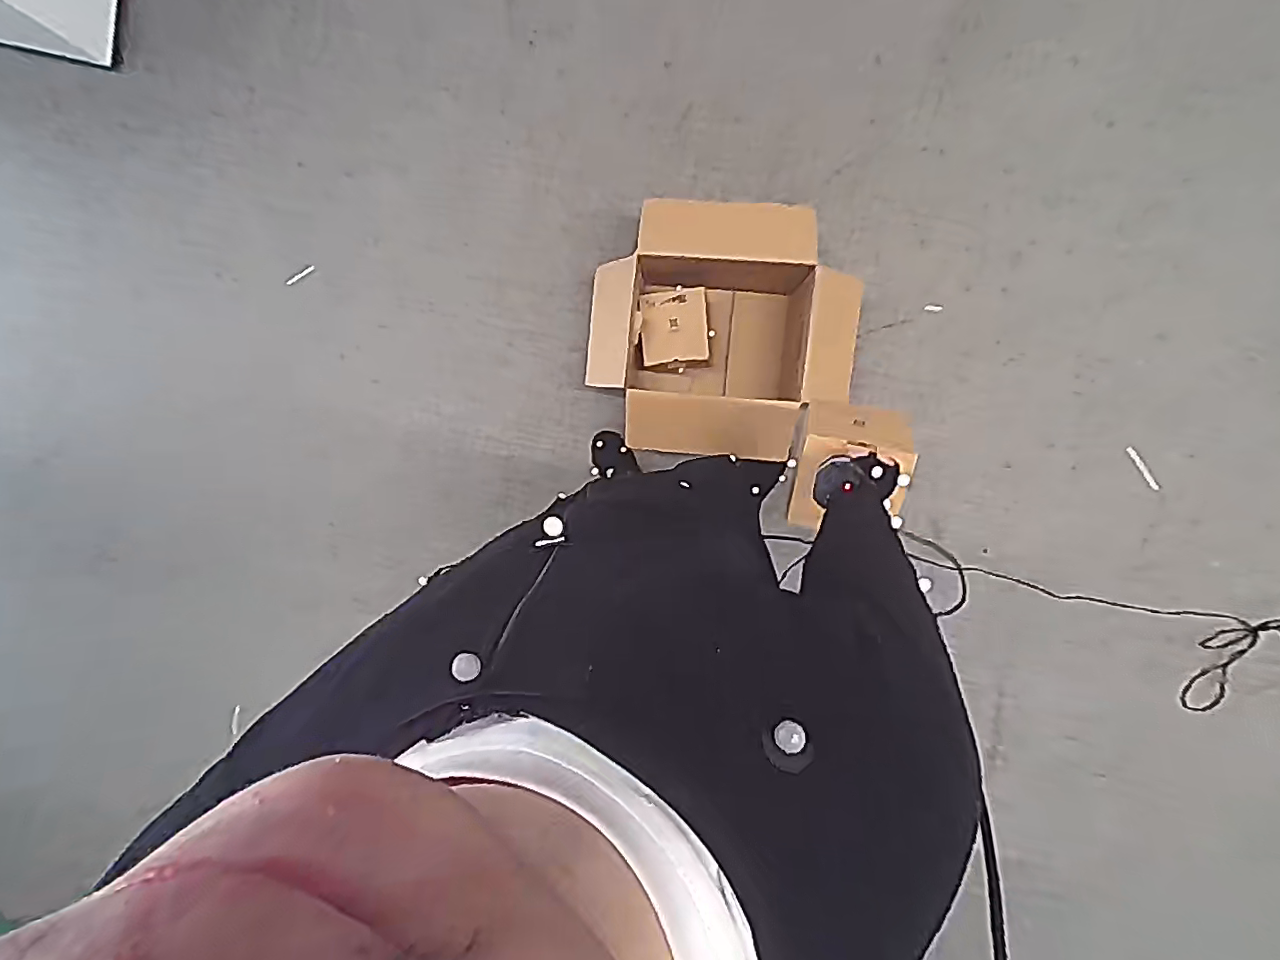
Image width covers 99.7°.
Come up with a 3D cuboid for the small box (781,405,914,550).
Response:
[{"bbox_3d":[0.343,-0.006,0.918,0.168,0.179,0.176,15,120,12],"label":"small box"}]
